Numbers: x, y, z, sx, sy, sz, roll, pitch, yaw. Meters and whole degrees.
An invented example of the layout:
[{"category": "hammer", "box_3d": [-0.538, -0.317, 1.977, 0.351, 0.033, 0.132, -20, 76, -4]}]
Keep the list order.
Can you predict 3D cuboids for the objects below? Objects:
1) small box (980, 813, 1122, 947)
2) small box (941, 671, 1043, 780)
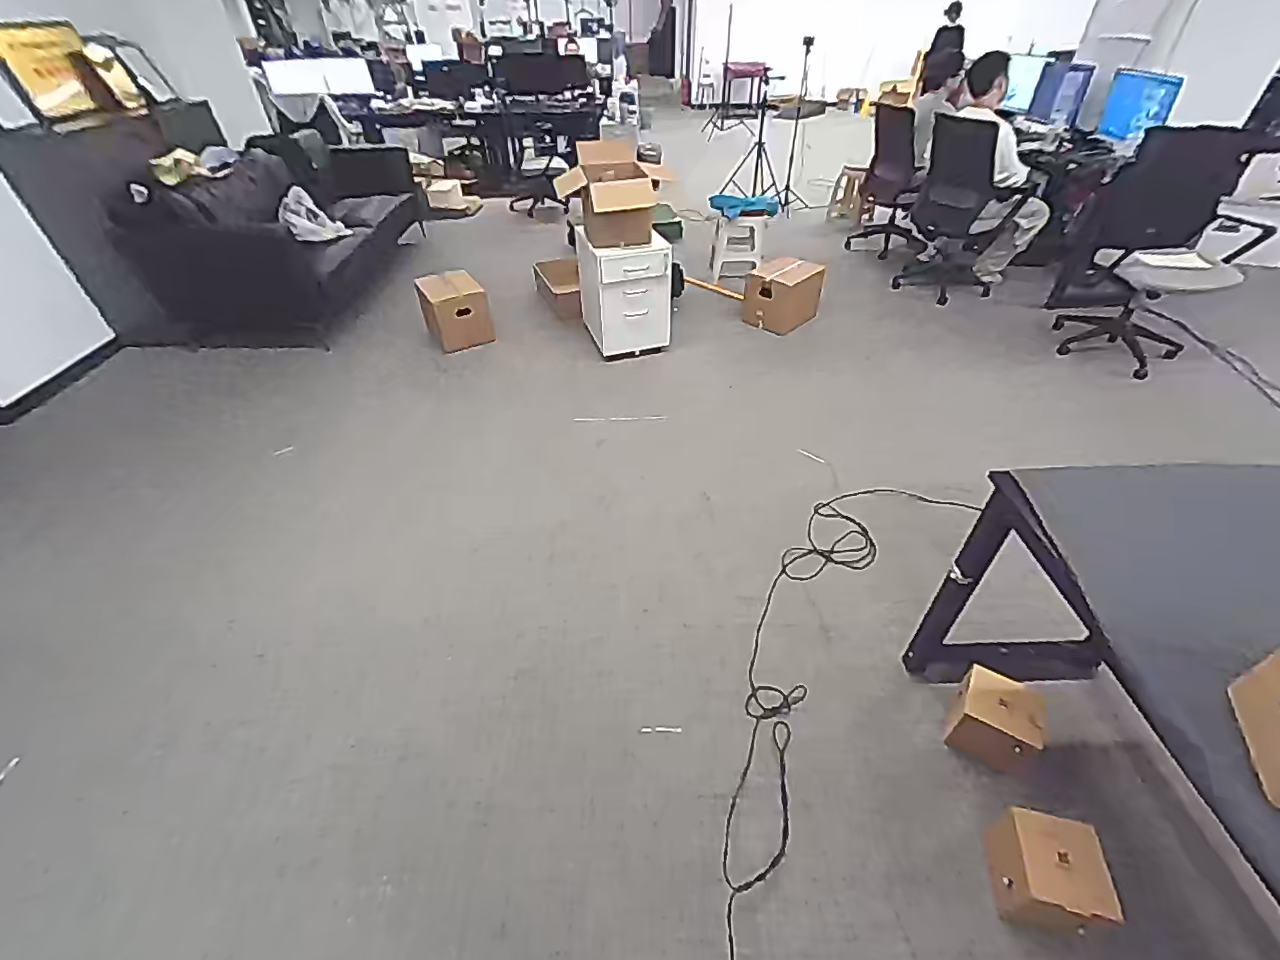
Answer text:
[{"category": "small box", "box_3d": [0.868, 0.864, 1.165, 0.168, 0.176, 0.179, 9, 39, 10]}, {"category": "small box", "box_3d": [0.921, 0.649, 1.424, 0.179, 0.176, 0.168, 22, 45, 24]}]
